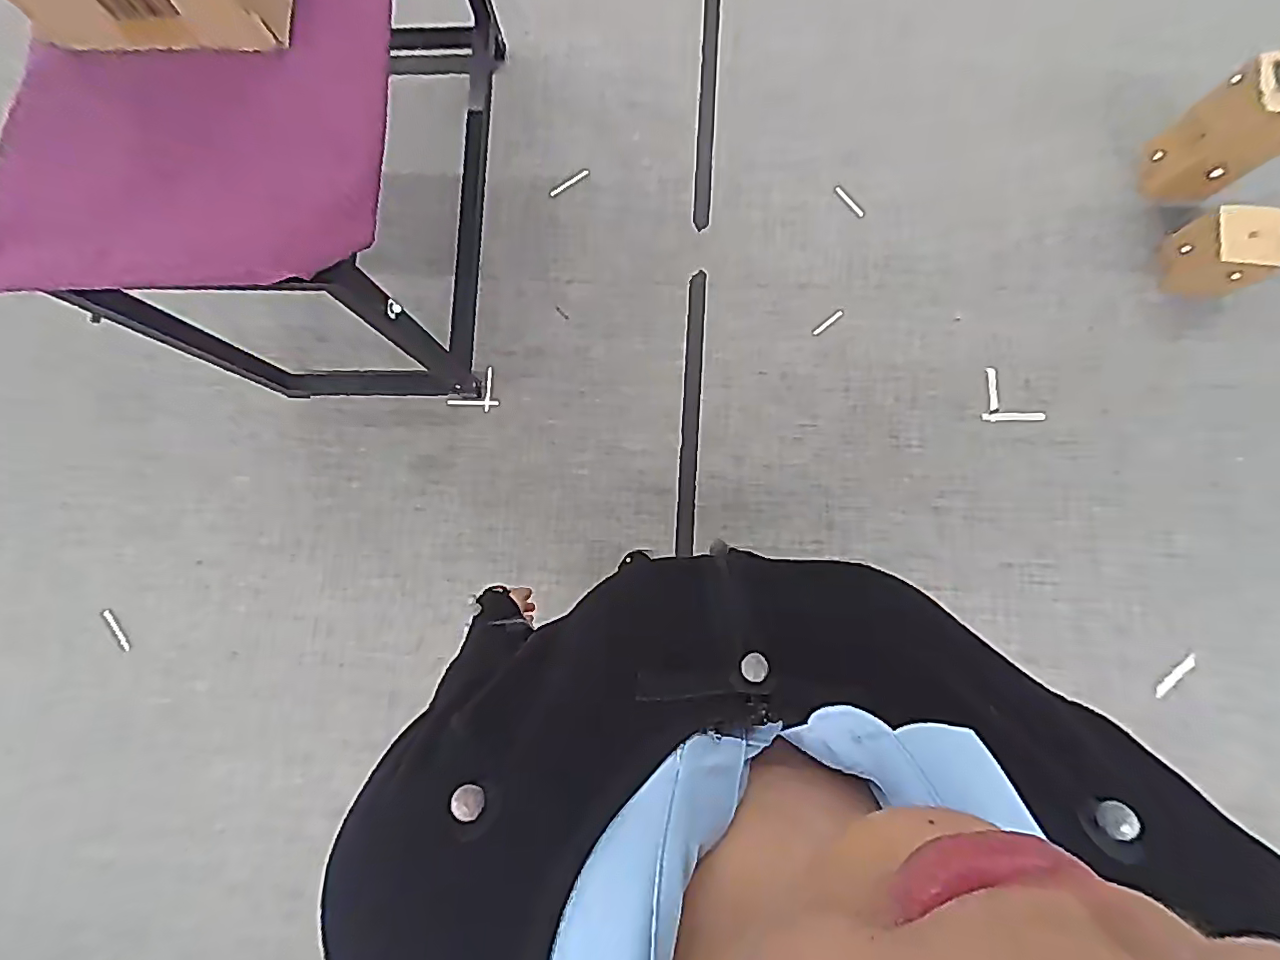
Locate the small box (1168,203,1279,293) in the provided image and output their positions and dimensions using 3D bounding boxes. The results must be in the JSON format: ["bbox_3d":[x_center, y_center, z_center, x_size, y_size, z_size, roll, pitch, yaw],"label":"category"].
[{"bbox_3d":[1.614,-0.632,1.489,0.179,0.176,0.168,6,83,3],"label":"small box"}]

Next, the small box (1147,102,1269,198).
[{"bbox_3d":[1.603,-0.929,1.535,0.179,0.176,0.168,5,82,3],"label":"small box"}]
